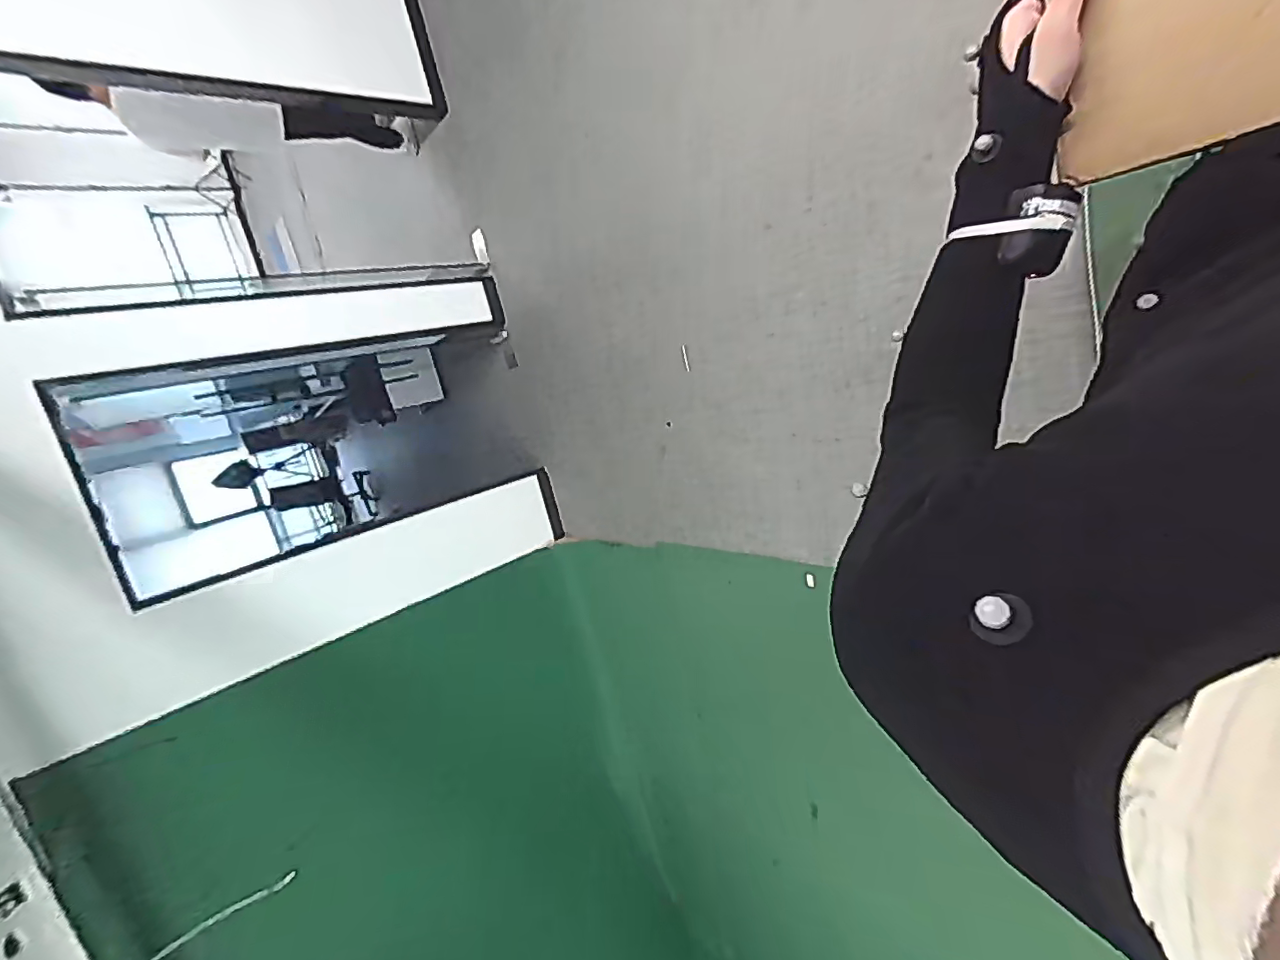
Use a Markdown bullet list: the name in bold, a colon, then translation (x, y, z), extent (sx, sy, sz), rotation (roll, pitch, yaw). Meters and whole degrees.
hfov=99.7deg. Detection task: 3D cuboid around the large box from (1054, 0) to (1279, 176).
- **large box**: translation (0.556, -0.453, 0.372), extent (0.408, 0.320, 0.320), rotation (0, 112, 47)
